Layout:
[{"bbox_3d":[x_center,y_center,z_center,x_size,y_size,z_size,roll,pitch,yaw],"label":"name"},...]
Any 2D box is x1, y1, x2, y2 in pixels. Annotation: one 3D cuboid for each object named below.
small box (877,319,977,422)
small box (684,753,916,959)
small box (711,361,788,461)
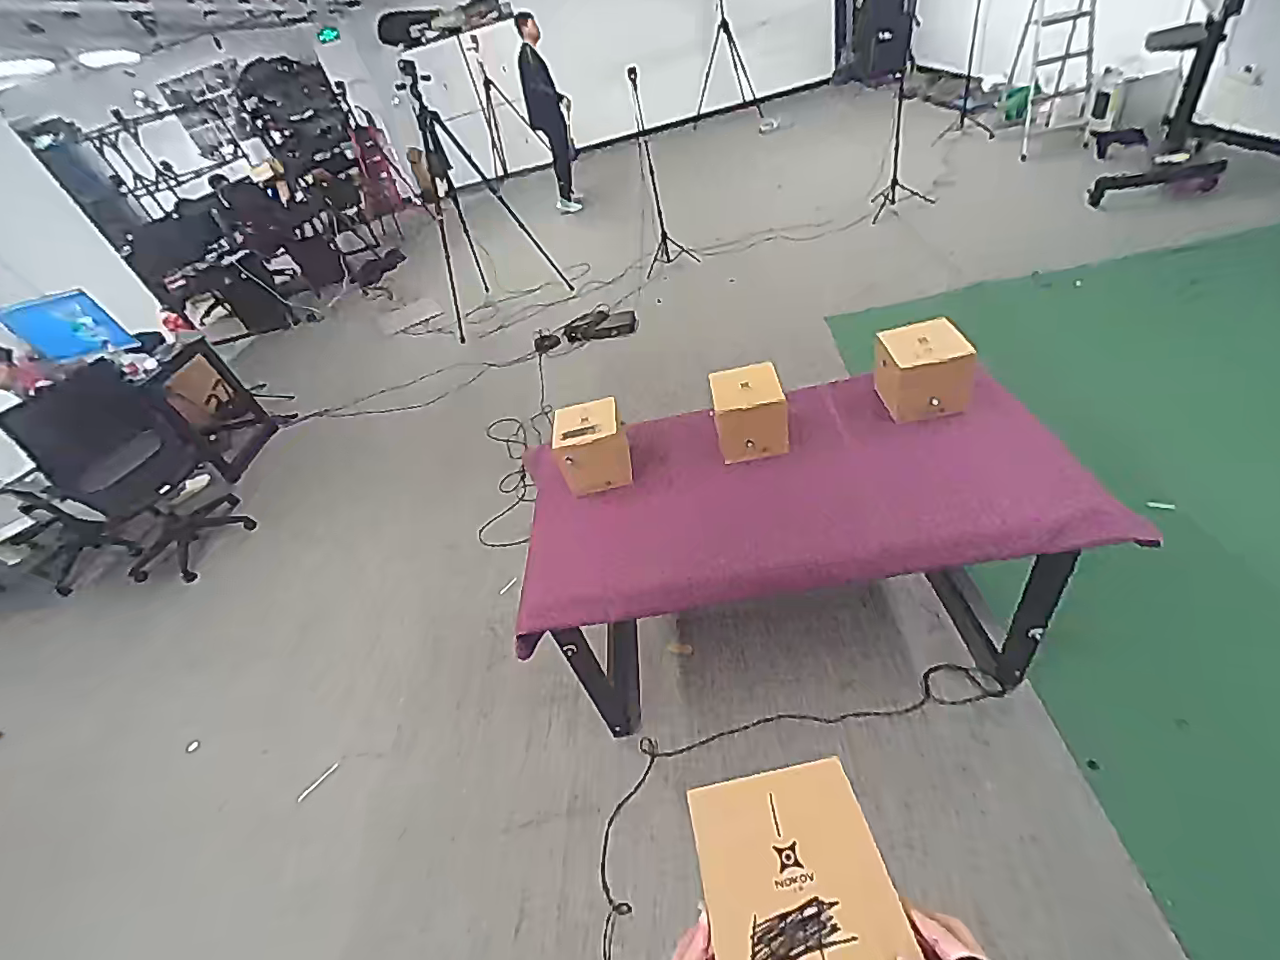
[{"bbox_3d":[0.694,-0.268,1.332,0.168,0.176,0.179,-11,42,10],"label":"small box"},{"bbox_3d":[0.151,0.414,0.542,0.168,0.176,0.179,-14,36,2],"label":"small box"},{"bbox_3d":[0.278,-0.174,1.376,0.168,0.176,0.179,-10,42,8],"label":"small box"}]
